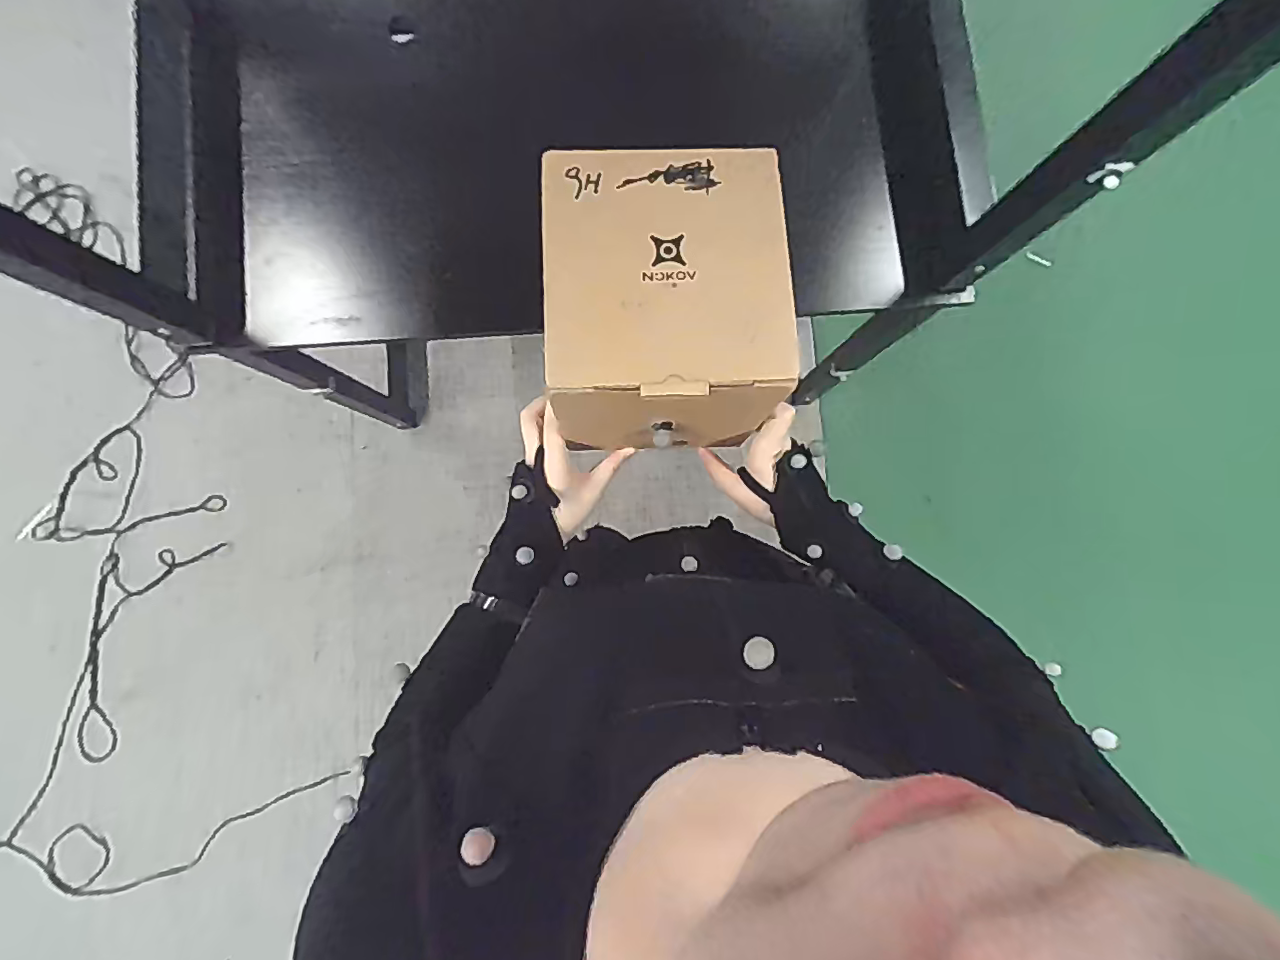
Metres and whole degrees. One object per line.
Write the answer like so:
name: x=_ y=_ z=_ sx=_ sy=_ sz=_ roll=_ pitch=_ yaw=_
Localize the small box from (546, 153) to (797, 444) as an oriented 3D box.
small box: x=0.017 y=-0.128 z=0.442 sx=0.168 sy=0.176 sz=0.179 roll=-2 pitch=81 yaw=-3
